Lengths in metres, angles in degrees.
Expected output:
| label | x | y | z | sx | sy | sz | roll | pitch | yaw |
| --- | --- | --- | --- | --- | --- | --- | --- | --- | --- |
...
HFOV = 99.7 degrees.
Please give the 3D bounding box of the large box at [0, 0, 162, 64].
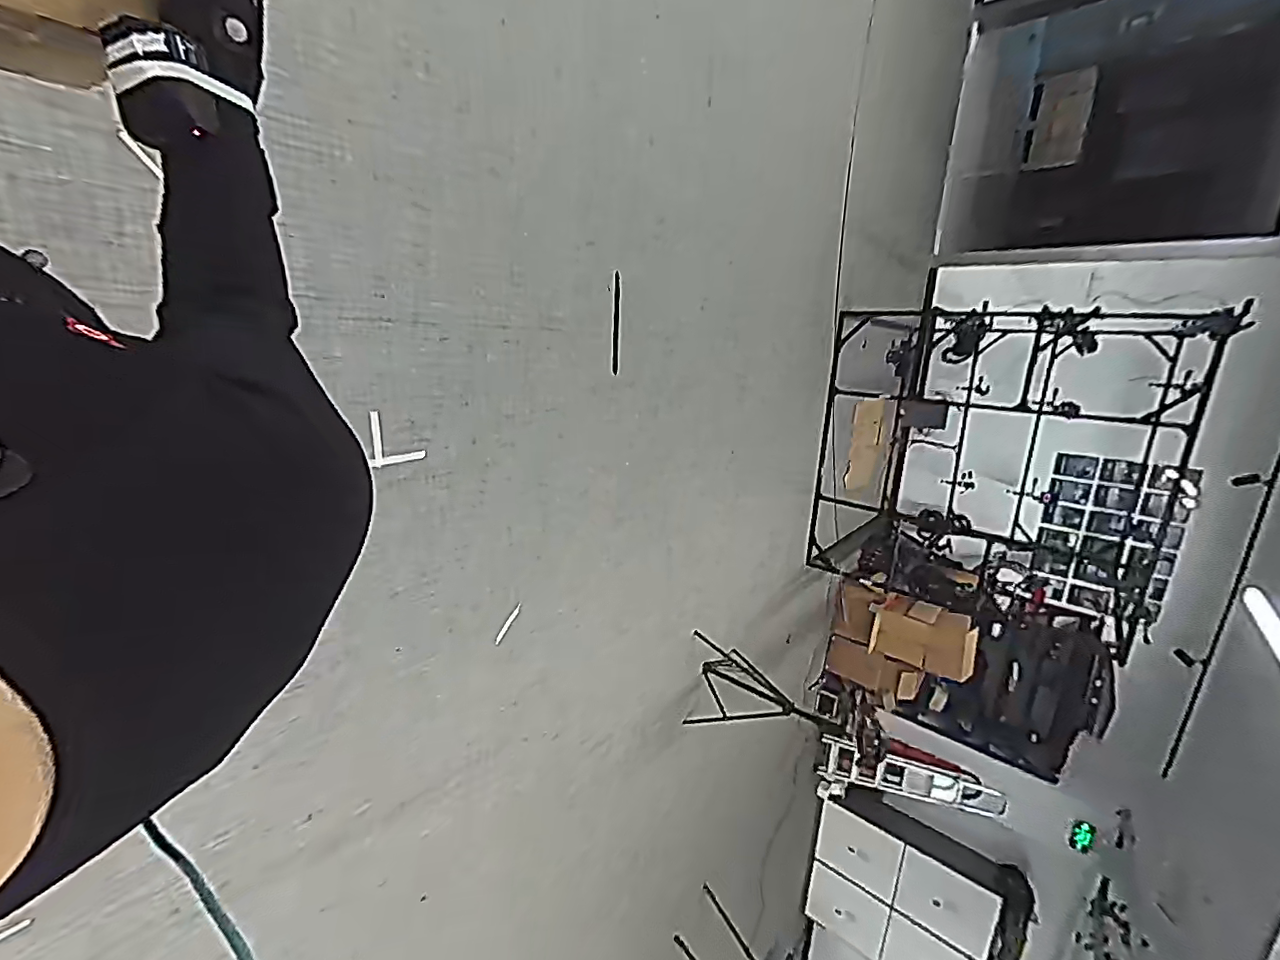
| label | x | y | z | sx | sy | sz | roll | pitch | yaw |
| --- | --- | --- | --- | --- | --- | --- | --- | --- | --- |
| large box | -0.566 | -0.469 | 0.268 | 0.408 | 0.320 | 0.320 | -19 | 125 | -49 |
